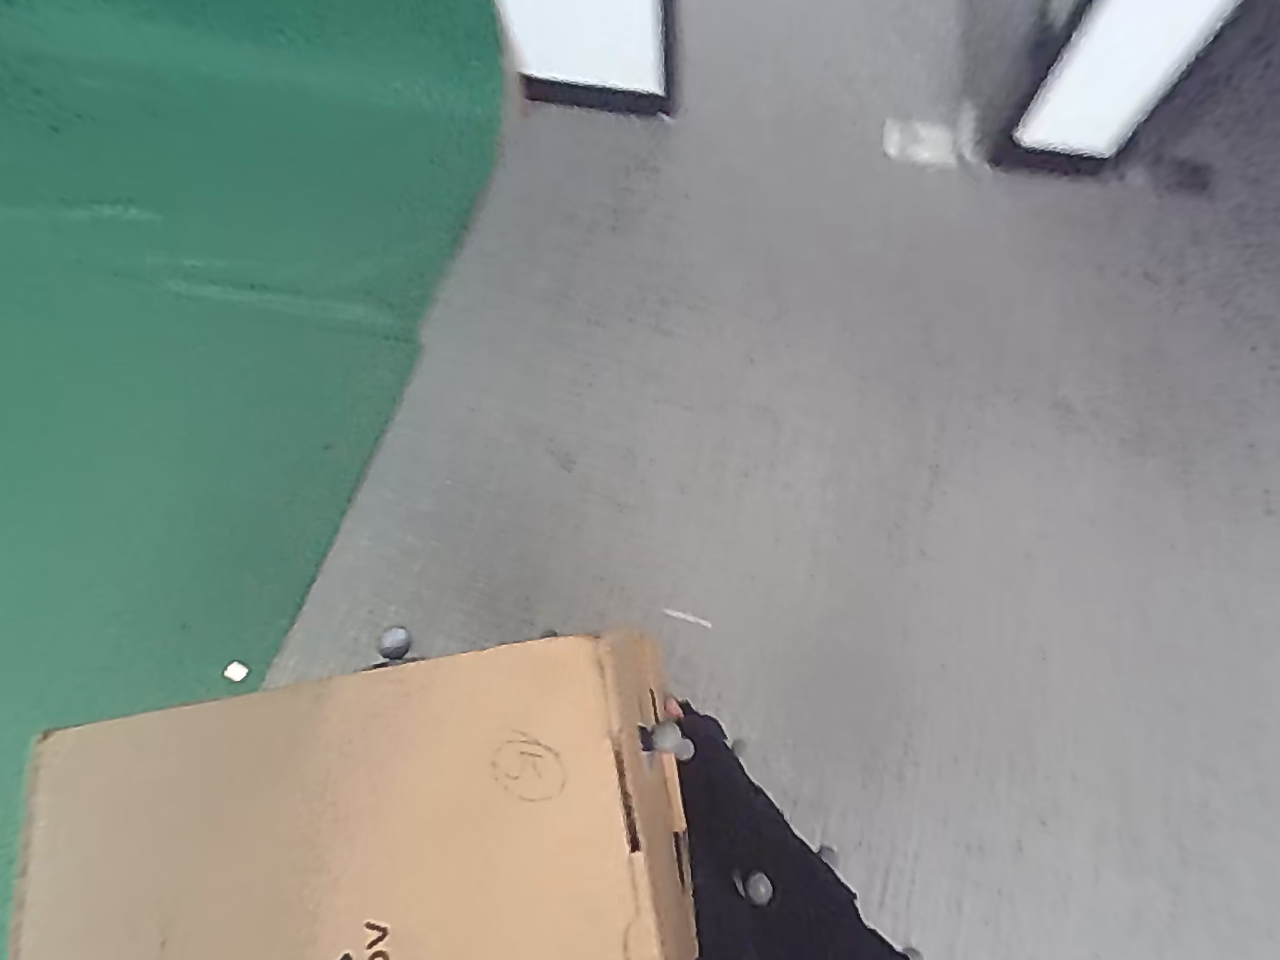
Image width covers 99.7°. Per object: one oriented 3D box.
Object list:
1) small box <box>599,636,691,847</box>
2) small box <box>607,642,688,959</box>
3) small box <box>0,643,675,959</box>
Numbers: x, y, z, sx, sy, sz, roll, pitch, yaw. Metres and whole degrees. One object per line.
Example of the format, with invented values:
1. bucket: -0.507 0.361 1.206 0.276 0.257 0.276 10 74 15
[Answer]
1. small box: -0.058 0.255 0.532 0.179 0.176 0.168 -13 76 -1
2. small box: -0.070 0.210 0.374 0.179 0.176 0.168 -10 74 0
3. small box: -0.083 0.166 0.219 0.179 0.176 0.168 -12 74 1
